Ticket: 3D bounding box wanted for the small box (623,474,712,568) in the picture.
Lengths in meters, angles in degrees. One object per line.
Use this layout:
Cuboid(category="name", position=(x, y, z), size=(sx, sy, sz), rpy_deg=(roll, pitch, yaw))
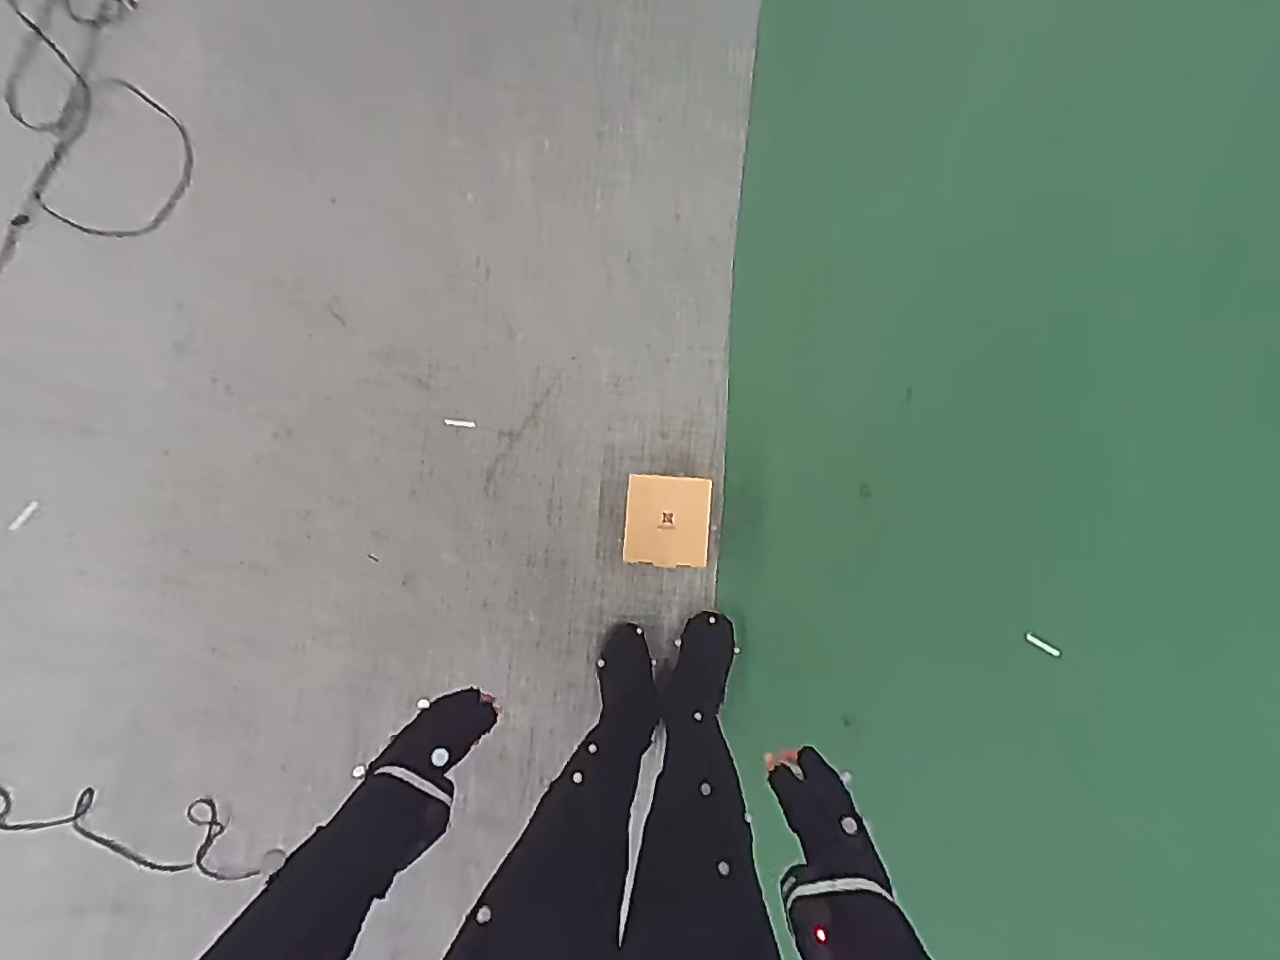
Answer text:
Cuboid(category="small box", position=(0.057, 0.085, 1.135), size=(0.168, 0.176, 0.179), rpy_deg=(4, 87, 4))
